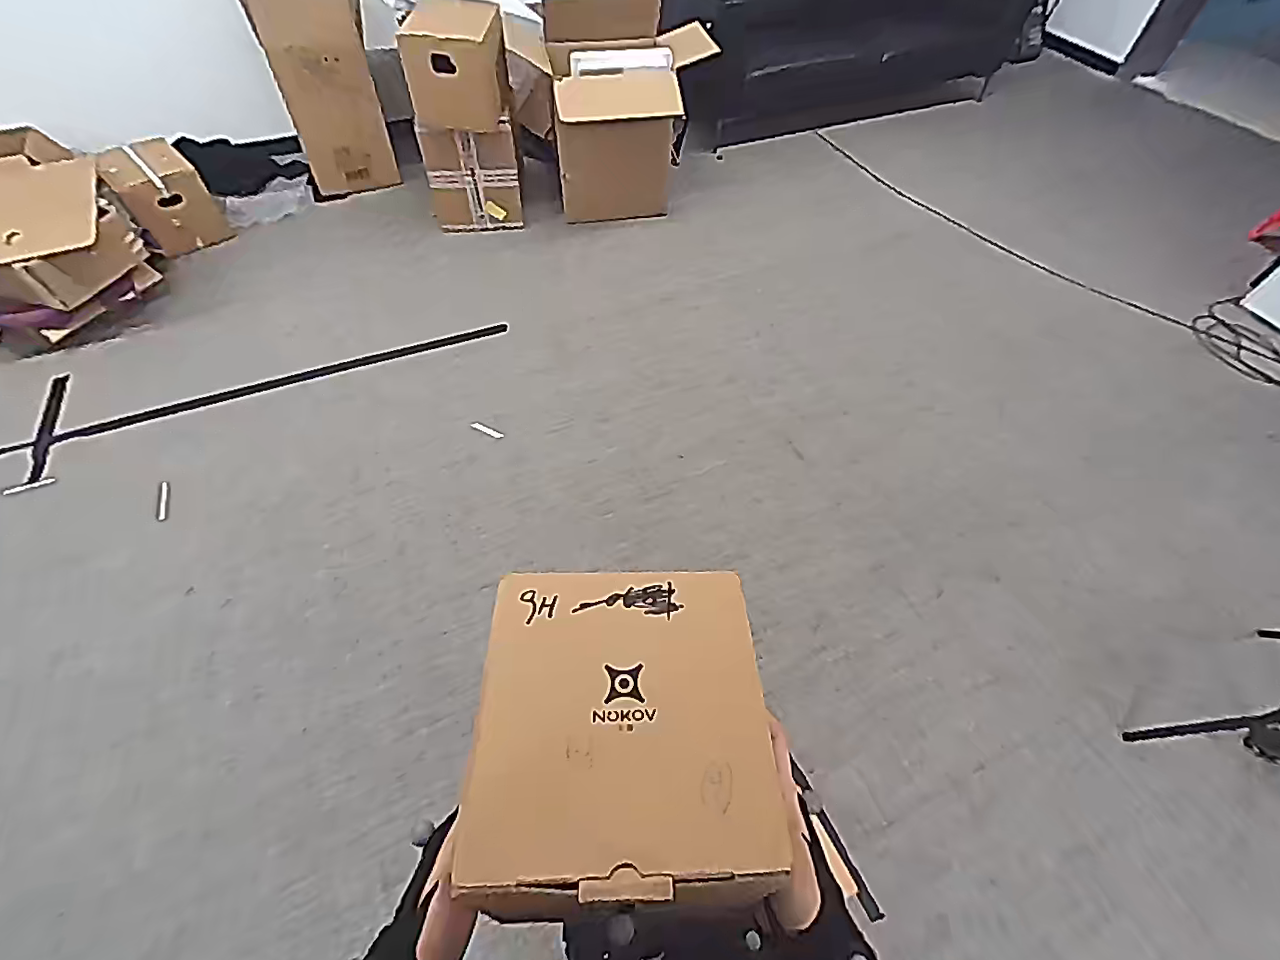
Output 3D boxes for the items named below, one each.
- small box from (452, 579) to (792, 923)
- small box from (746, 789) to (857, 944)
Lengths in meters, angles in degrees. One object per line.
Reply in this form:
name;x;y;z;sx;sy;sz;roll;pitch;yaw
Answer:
small box;-0.012;0.186;0.368;0.168;0.176;0.179;0;47;-4
small box;0.258;0.711;1.002;0.168;0.176;0.179;-21;57;-15
